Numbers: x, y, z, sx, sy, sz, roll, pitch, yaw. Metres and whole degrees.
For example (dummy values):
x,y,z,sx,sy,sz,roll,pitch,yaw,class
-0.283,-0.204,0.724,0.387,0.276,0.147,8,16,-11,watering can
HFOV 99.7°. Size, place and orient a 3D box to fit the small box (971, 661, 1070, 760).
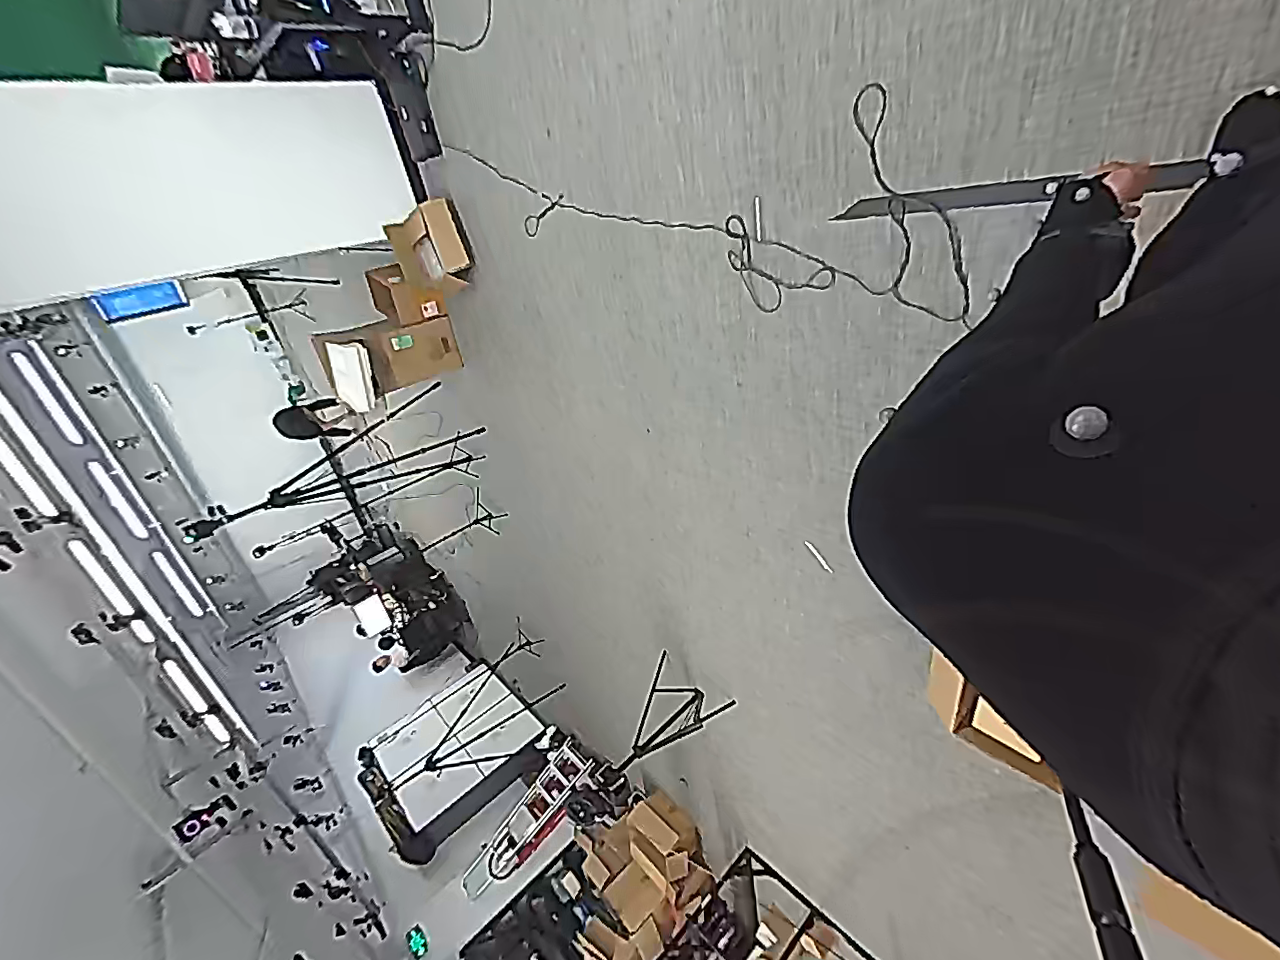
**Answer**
x,y,z,sx,sy,sz,roll,pitch,yaw,class
1.098,0.654,1.564,0.179,0.176,0.168,23,130,44,small box
